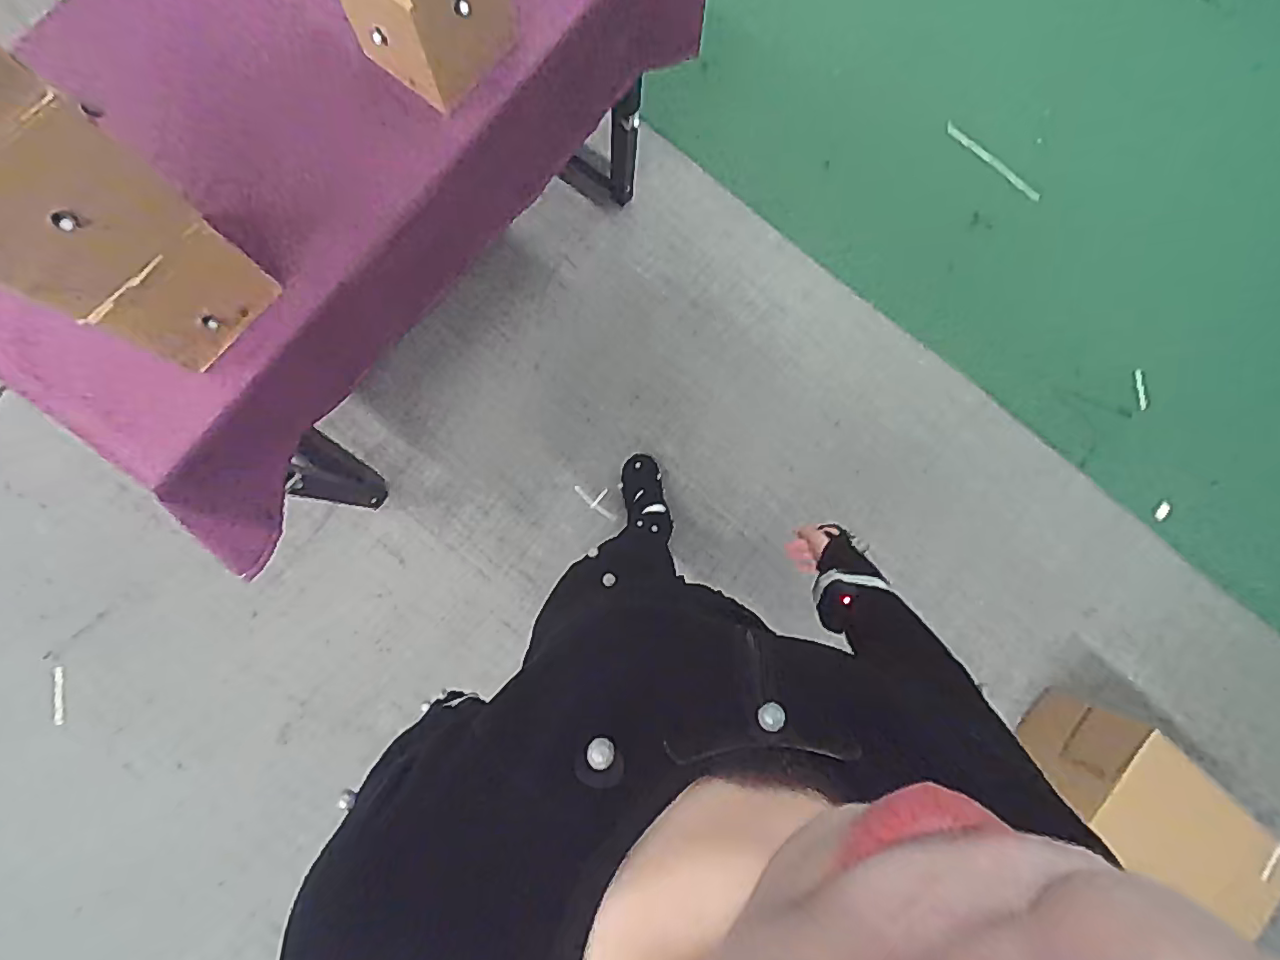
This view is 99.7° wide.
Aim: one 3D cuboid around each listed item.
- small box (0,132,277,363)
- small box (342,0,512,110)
[{"bbox_3d":[-0.624,-0.277,0.687,0.179,0.176,0.168,38,81,1],"label":"small box"},{"bbox_3d":[-0.302,-0.681,0.761,0.168,0.176,0.179,38,82,1],"label":"small box"}]
